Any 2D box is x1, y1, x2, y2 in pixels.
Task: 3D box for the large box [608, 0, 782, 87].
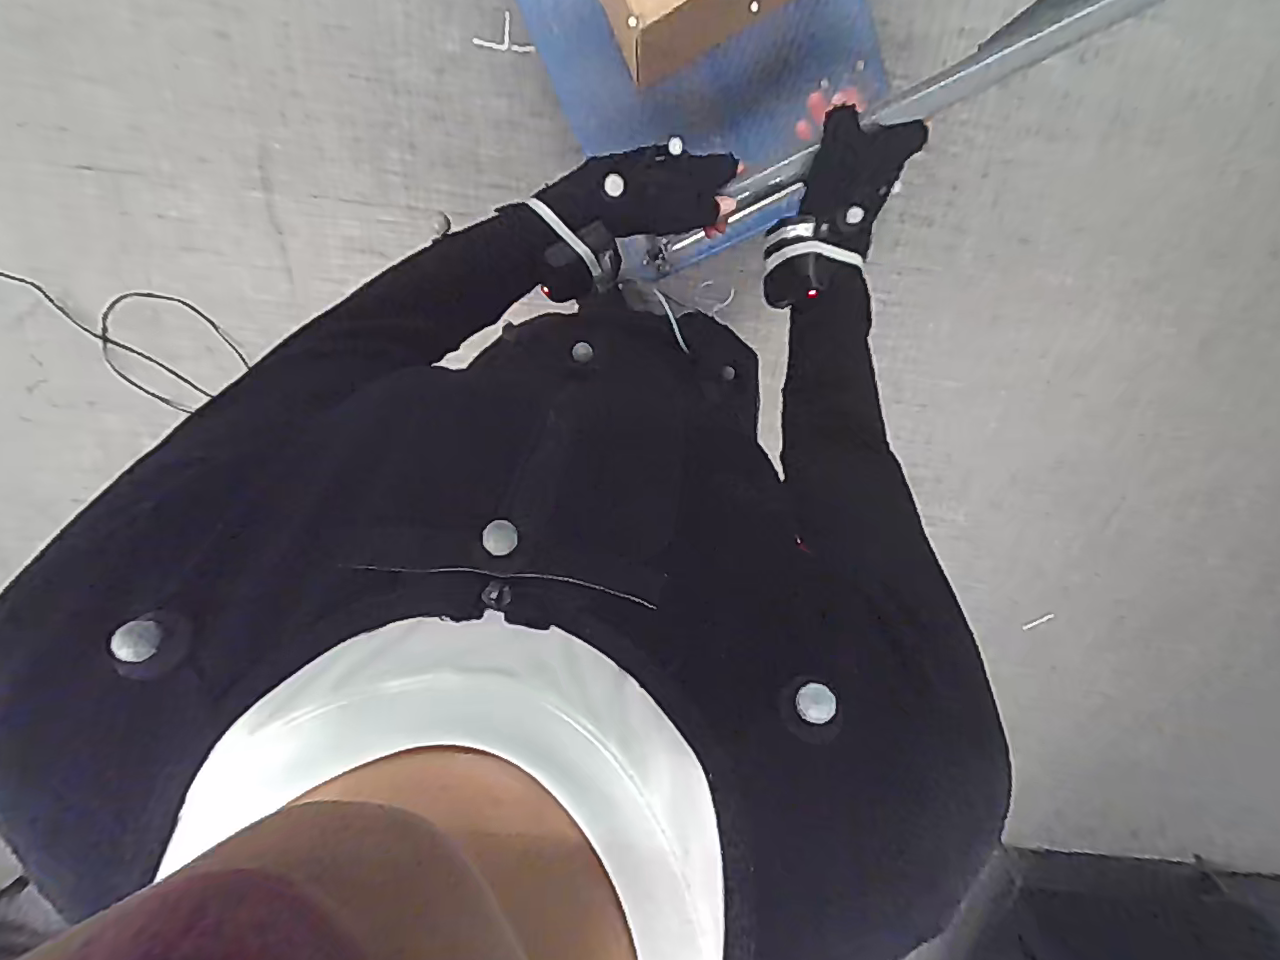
[{"bbox_3d":[0.115,-0.904,0.821,0.408,0.320,0.320,-26,110,12],"label":"large box"}]
